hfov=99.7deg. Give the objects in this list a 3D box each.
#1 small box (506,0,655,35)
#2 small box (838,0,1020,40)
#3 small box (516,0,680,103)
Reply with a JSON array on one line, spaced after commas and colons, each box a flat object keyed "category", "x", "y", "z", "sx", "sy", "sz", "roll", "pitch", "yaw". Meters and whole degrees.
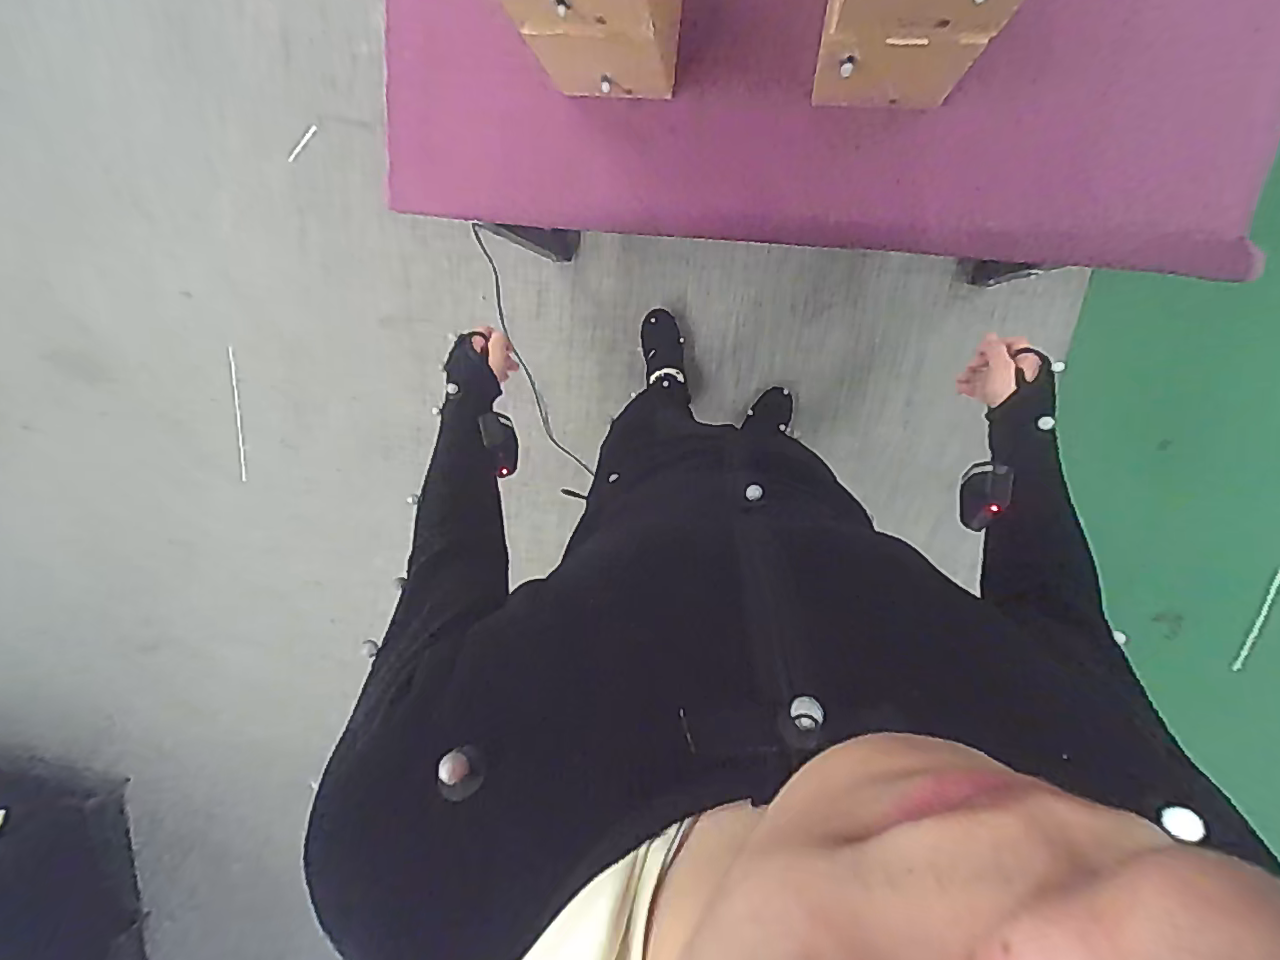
[{"category": "small box", "x": -0.070, "y": -0.582, "z": 0.526, "sx": 0.168, "sy": 0.176, "sz": 0.179, "roll": 7, "pitch": 105, "yaw": 8}, {"category": "small box", "x": 0.282, "y": -0.529, "z": 0.475, "sx": 0.168, "sy": 0.176, "sz": 0.179, "roll": 8, "pitch": 104, "yaw": 8}, {"category": "small box", "x": -0.042, "y": -0.616, "z": 0.682, "sx": 0.168, "sy": 0.176, "sz": 0.179, "roll": 9, "pitch": 105, "yaw": 8}]
